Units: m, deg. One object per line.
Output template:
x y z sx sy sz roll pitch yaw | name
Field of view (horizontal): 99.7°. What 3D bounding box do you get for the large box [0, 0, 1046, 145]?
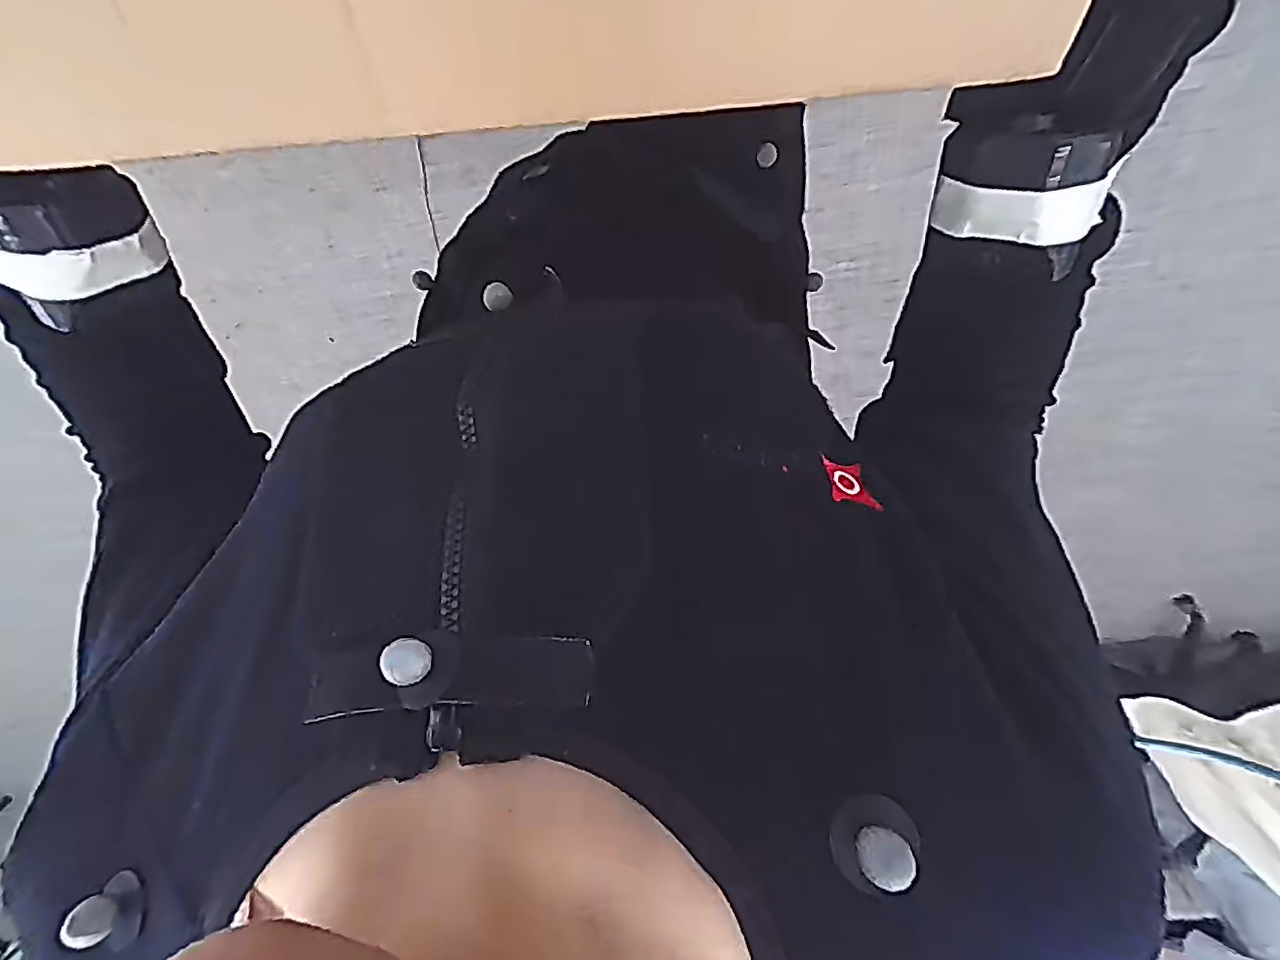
-0.067 -0.358 0.184 0.408 0.320 0.320 -4 139 2 | large box
